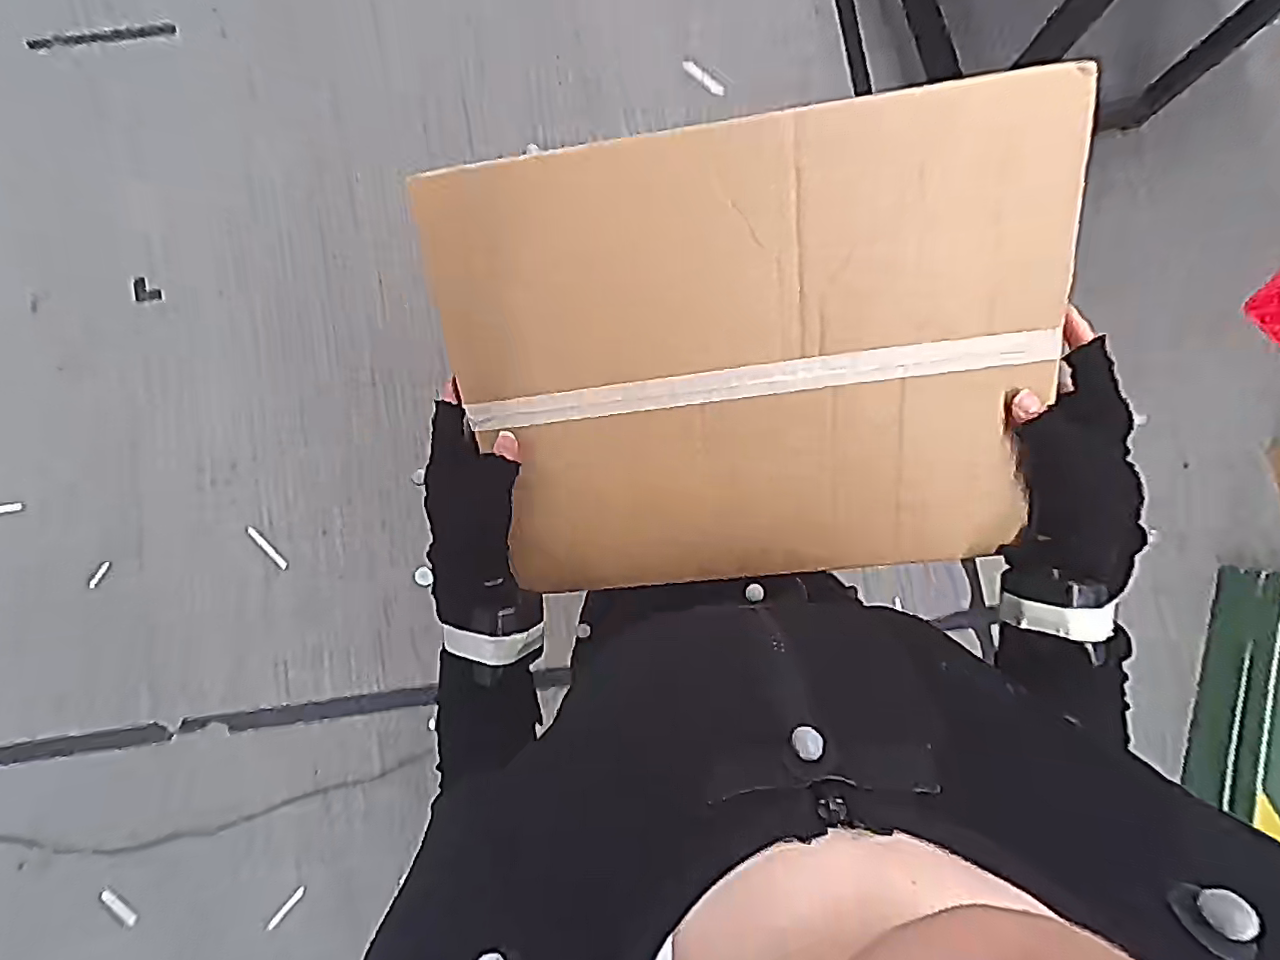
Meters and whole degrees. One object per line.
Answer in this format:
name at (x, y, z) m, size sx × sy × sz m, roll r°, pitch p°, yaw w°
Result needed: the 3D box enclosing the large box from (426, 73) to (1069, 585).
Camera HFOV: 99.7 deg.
large box at (0.081, -0.127, 0.523) m, size 0.408 × 0.320 × 0.320 m, roll -6°, pitch 112°, yaw 6°
